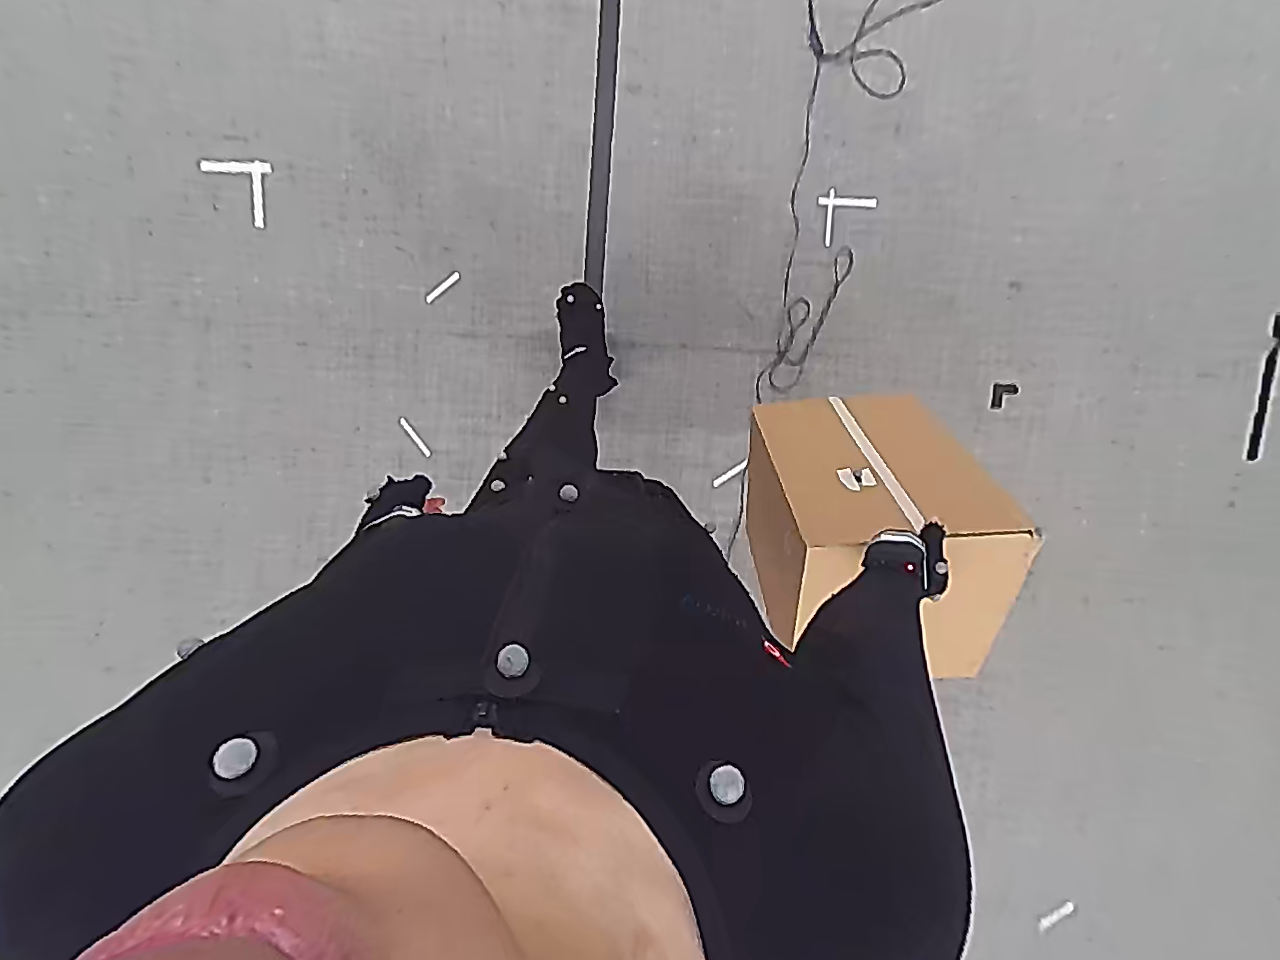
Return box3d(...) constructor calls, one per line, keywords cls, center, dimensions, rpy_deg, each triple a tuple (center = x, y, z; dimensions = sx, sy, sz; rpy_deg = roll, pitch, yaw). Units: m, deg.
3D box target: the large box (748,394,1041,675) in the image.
box3d(cls="large box", center=(0.390, 0.082, 0.972), dimensions=(0.320, 0.408, 0.320), rpy_deg=(-5, 127, 2))
